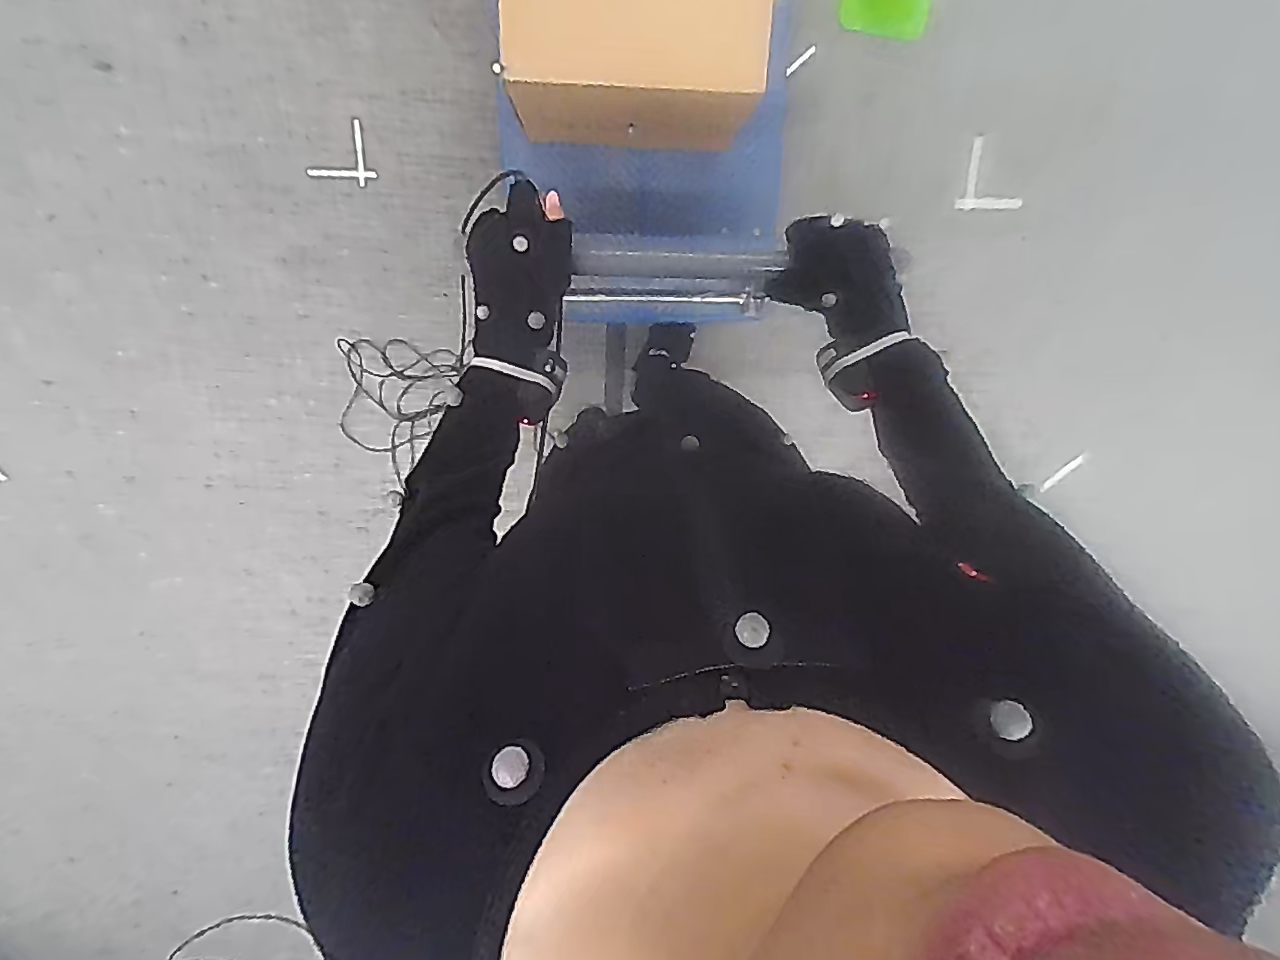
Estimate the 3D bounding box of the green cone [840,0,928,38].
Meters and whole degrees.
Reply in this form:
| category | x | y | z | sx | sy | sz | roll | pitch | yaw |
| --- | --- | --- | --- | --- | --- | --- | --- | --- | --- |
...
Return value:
| category | x | y | z | sx | sy | sz | roll | pitch | yaw |
| --- | --- | --- | --- | --- | --- | --- | --- | --- | --- |
| green cone | 0.566 | -1.060 | 1.033 | 0.202 | 0.368 | 0.200 | 5 | 106 | -6 |

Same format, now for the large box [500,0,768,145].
| category | x | y | z | sx | sy | sz | roll | pitch | yaw |
| --- | --- | --- | --- | --- | --- | --- | --- | --- | --- |
| large box | -0.012 | -0.791 | 0.926 | 0.408 | 0.320 | 0.320 | 0 | 107 | -3 |
